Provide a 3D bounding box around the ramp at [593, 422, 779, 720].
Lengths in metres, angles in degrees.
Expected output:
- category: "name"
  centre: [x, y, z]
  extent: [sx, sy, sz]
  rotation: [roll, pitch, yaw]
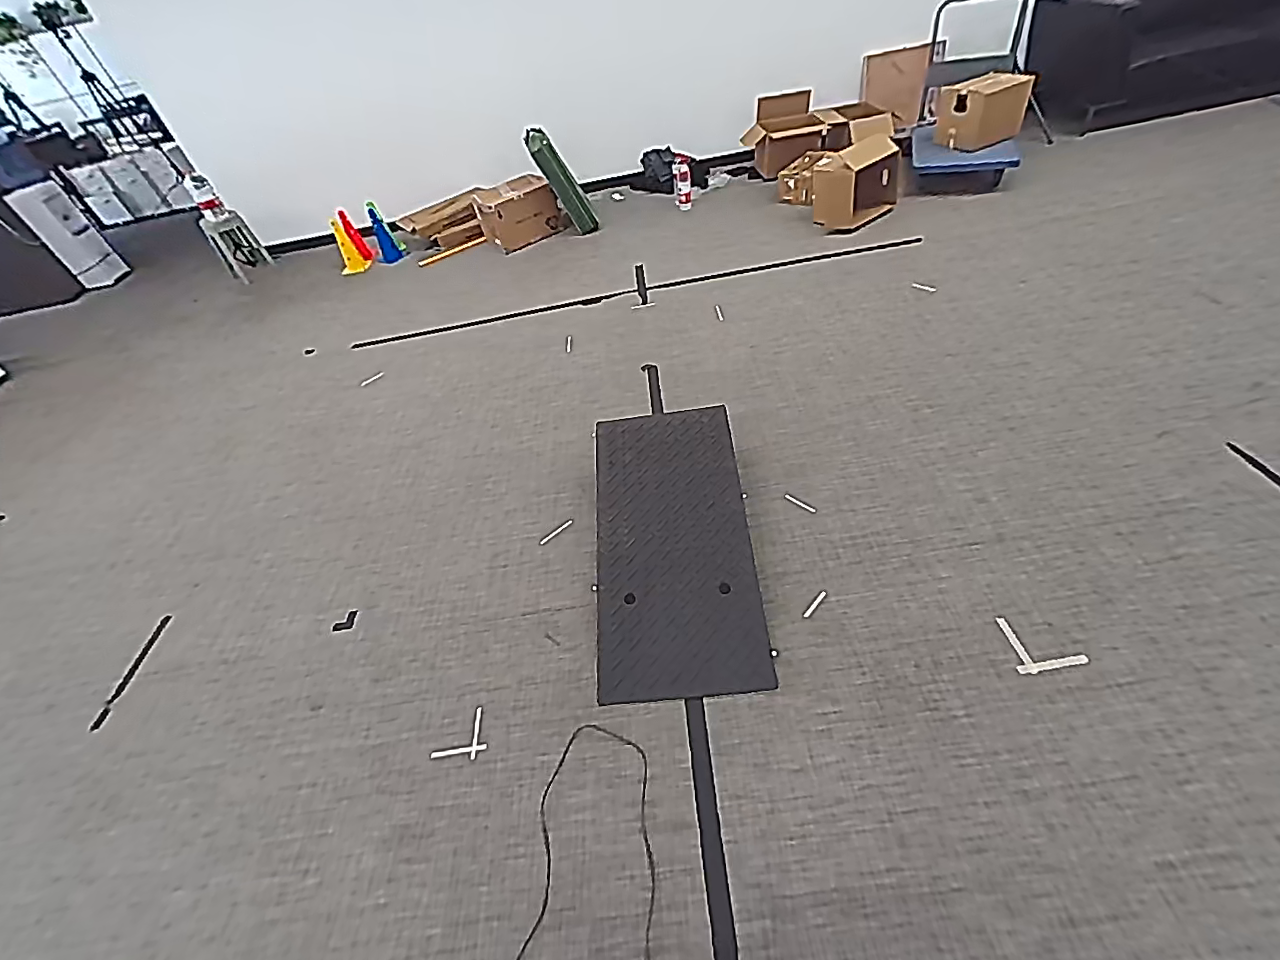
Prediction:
- category: "ramp"
  centre: [0.102, 0.222, 1.752]
  extent: [0.509, 0.206, 0.991]
  rotation: [-9, 44, 3]
